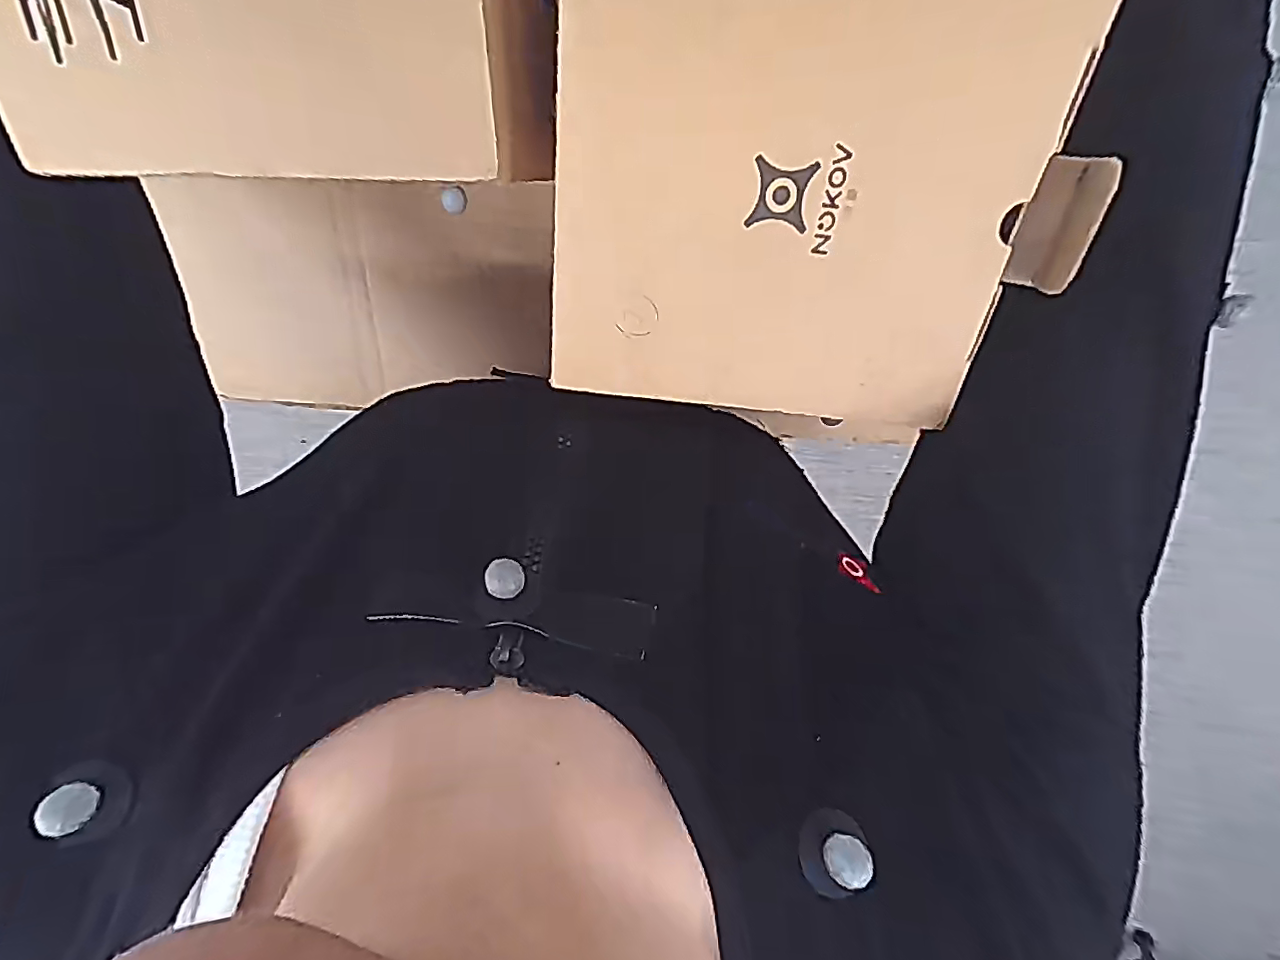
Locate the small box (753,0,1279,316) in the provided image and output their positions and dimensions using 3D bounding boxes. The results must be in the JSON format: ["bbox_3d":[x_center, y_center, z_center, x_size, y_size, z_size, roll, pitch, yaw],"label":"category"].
[{"bbox_3d":[0.163,-0.193,0.221,0.179,0.176,0.168,17,129,-9],"label":"small box"}]
